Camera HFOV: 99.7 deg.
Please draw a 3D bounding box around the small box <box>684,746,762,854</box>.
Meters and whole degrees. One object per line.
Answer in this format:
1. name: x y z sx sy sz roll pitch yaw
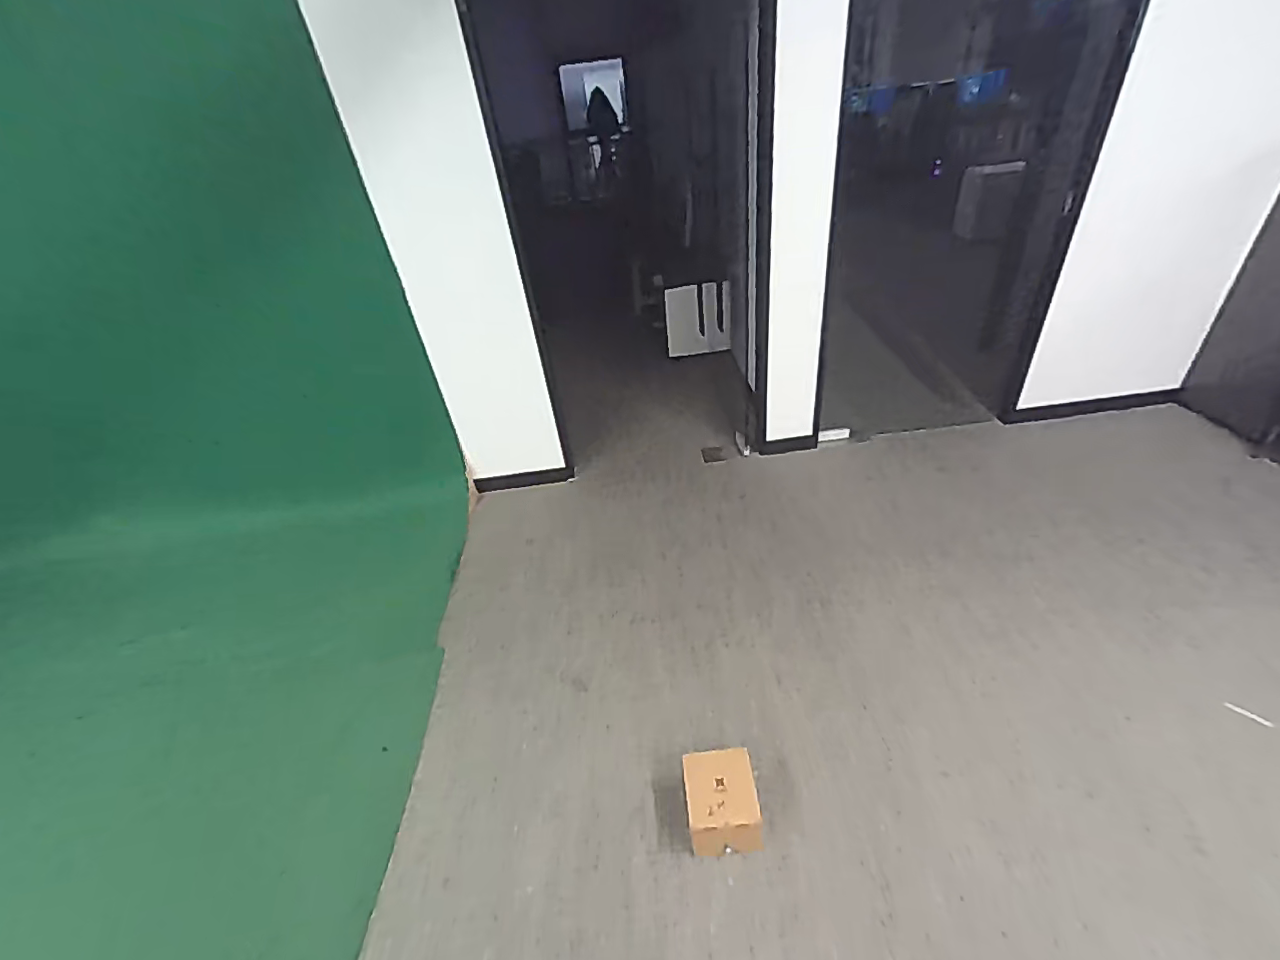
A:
1. small box: 0.200 0.788 1.333 0.168 0.176 0.179 -7 37 2
